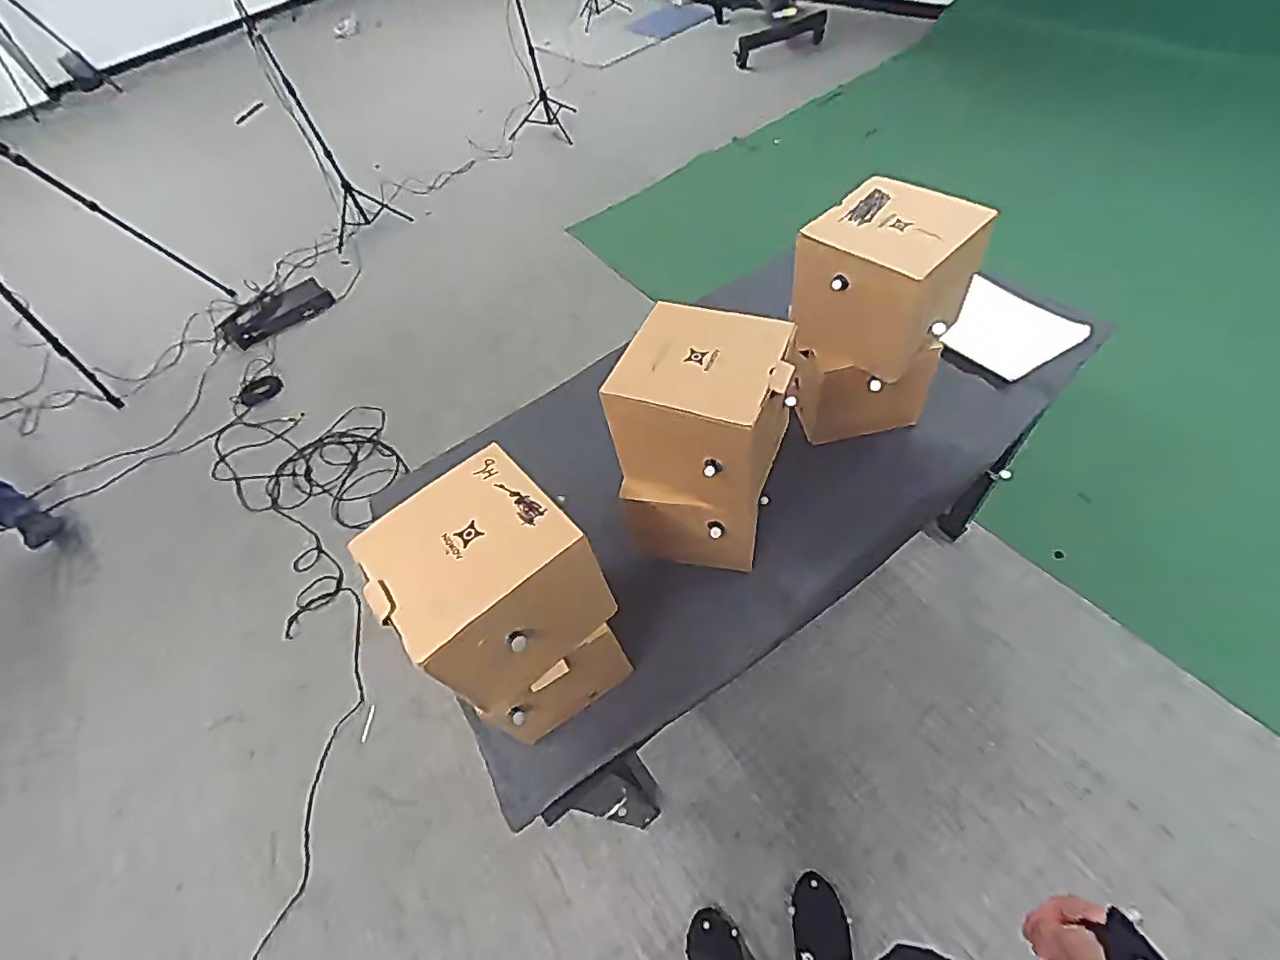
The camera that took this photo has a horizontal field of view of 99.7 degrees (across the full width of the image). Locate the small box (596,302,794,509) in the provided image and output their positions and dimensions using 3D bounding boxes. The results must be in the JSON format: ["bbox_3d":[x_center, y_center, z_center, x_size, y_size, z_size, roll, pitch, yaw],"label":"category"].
[{"bbox_3d":[0.074,-0.086,0.656,0.179,0.176,0.168,16,58,21],"label":"small box"}]

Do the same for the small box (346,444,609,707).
[{"bbox_3d":[-0.155,0.103,0.563,0.179,0.176,0.168,-38,56,-16],"label":"small box"}]

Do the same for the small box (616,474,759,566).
[{"bbox_3d":[0.080,0.011,0.787,0.179,0.176,0.168,5,56,14],"label":"small box"}]

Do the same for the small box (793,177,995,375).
[{"bbox_3d":[0.328,-0.275,0.740,0.168,0.176,0.179,-40,58,-16],"label":"small box"}]

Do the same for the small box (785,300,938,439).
[{"bbox_3d":[0.342,-0.190,0.881,0.179,0.176,0.168,-12,54,3],"label":"small box"}]
